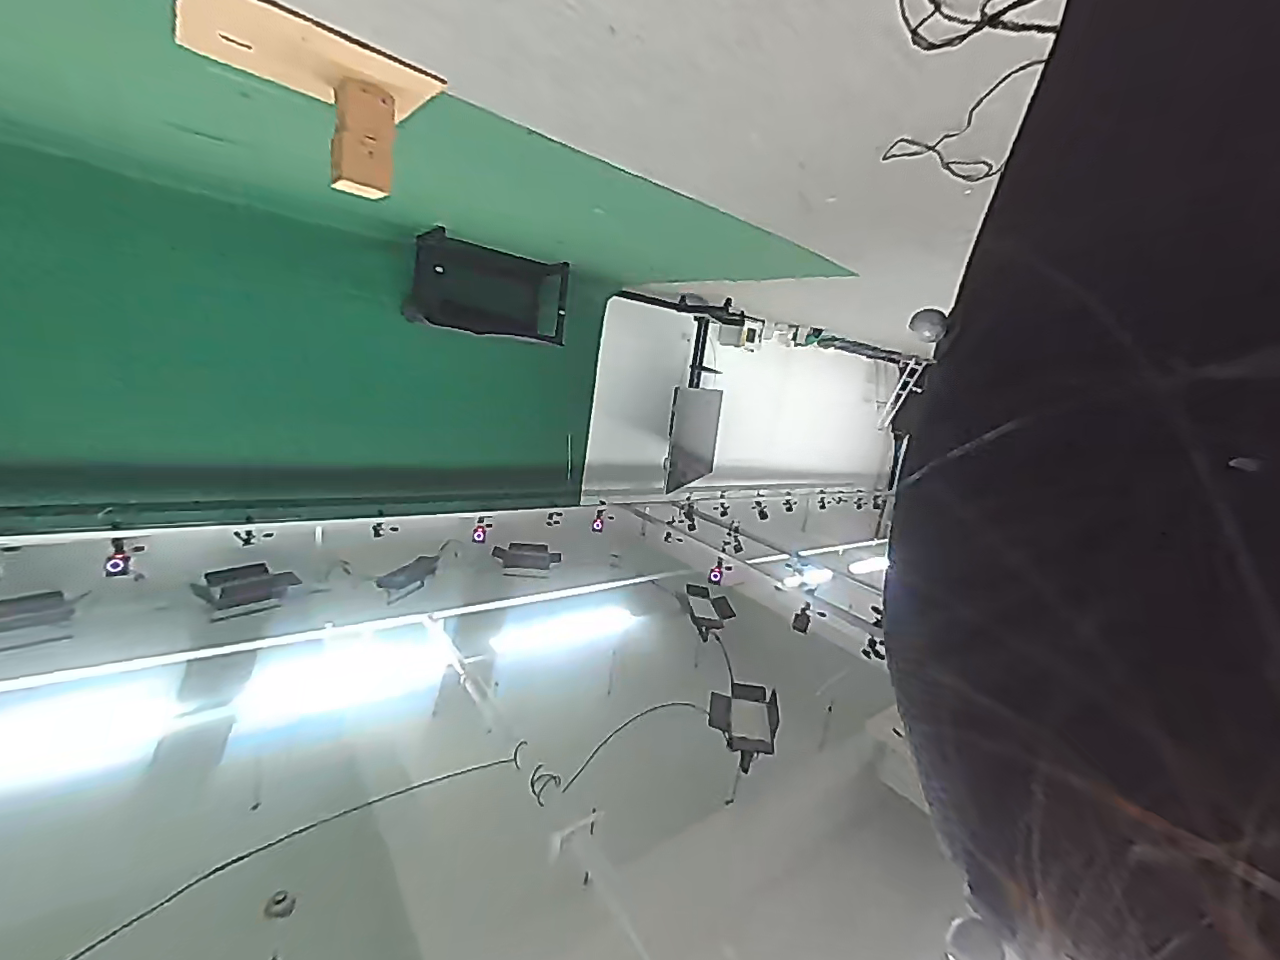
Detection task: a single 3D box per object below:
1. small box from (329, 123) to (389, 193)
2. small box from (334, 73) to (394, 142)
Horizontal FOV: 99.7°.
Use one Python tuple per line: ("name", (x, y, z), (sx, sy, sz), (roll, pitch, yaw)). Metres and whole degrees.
("small box", (-1.054, -1.206, 2.030), (0.168, 0.176, 0.179), (-3, -164, -43))
("small box", (-1.017, -1.360, 1.990), (0.168, 0.176, 0.179), (-3, -162, -42))
